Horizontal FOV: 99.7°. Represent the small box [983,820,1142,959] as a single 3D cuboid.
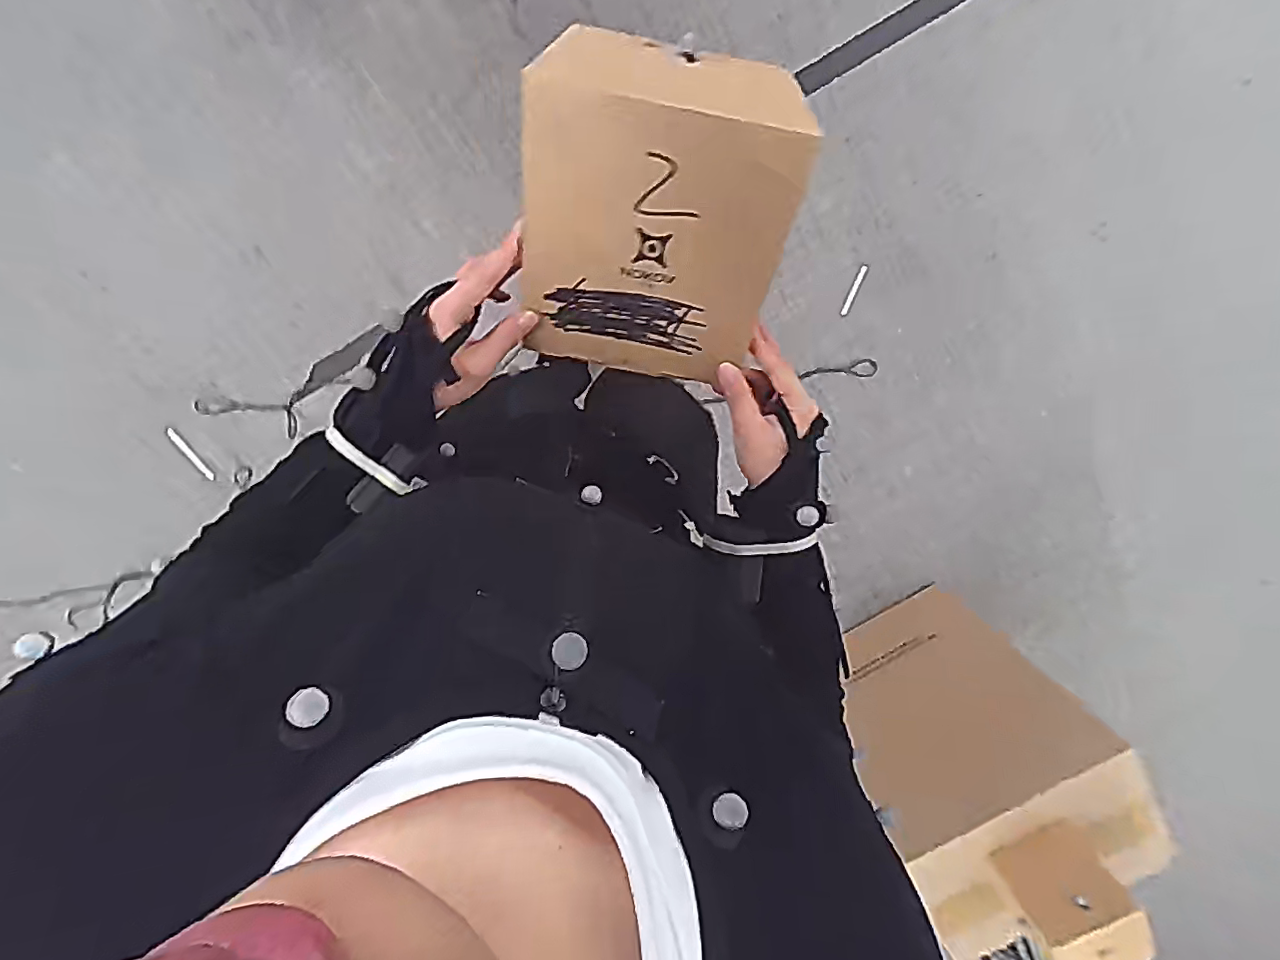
[{"bbox_3d":[0.803,0.813,1.047,0.179,0.176,0.168,-28,110,2],"label":"small box"}]
